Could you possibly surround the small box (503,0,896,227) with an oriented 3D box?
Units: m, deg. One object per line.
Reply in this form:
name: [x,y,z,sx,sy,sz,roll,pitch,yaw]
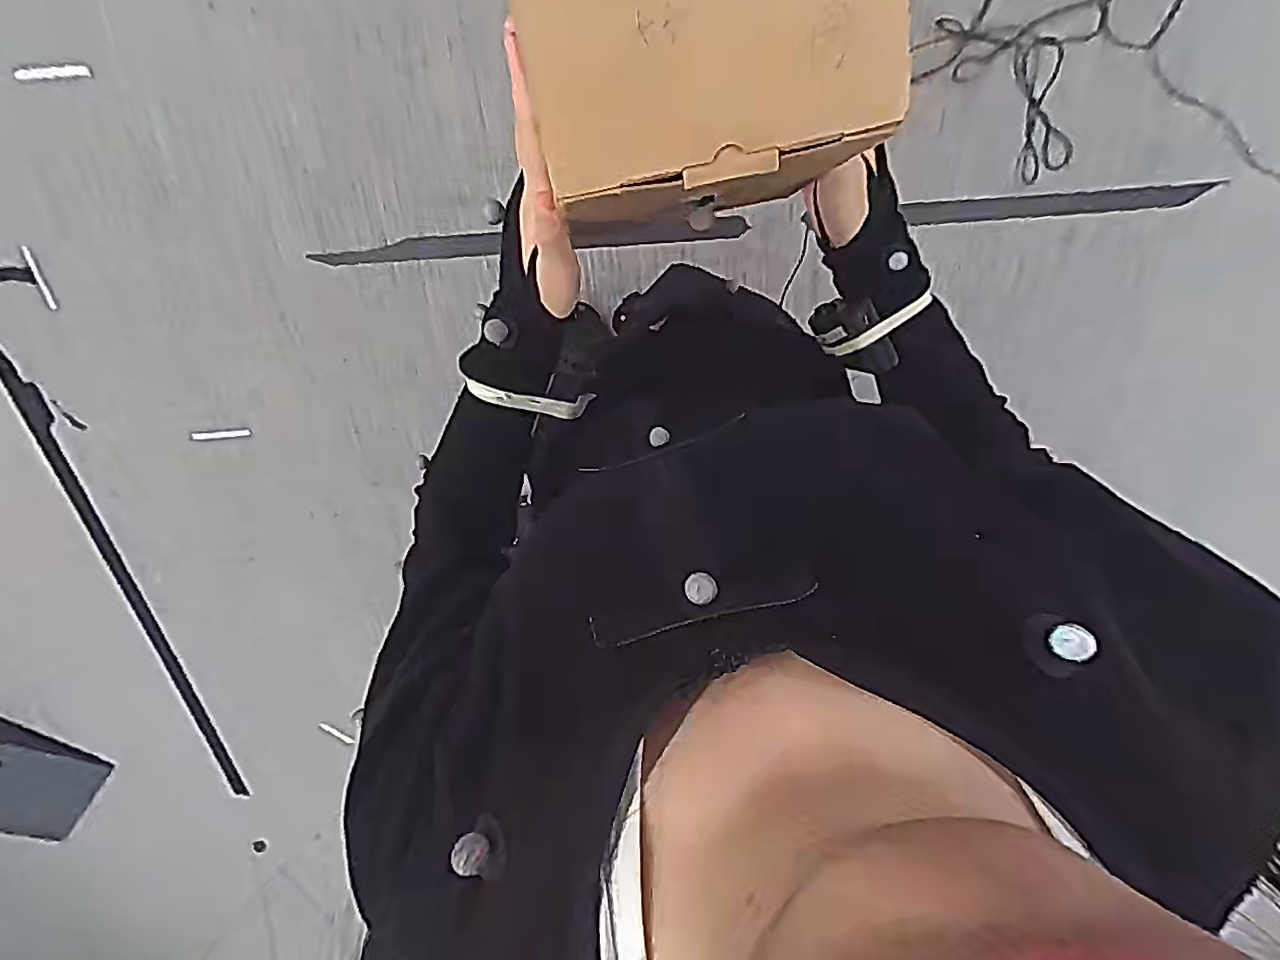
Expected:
small box: [0.019,-0.247,0.295,0.168,0.176,0.179,-11,109,1]
